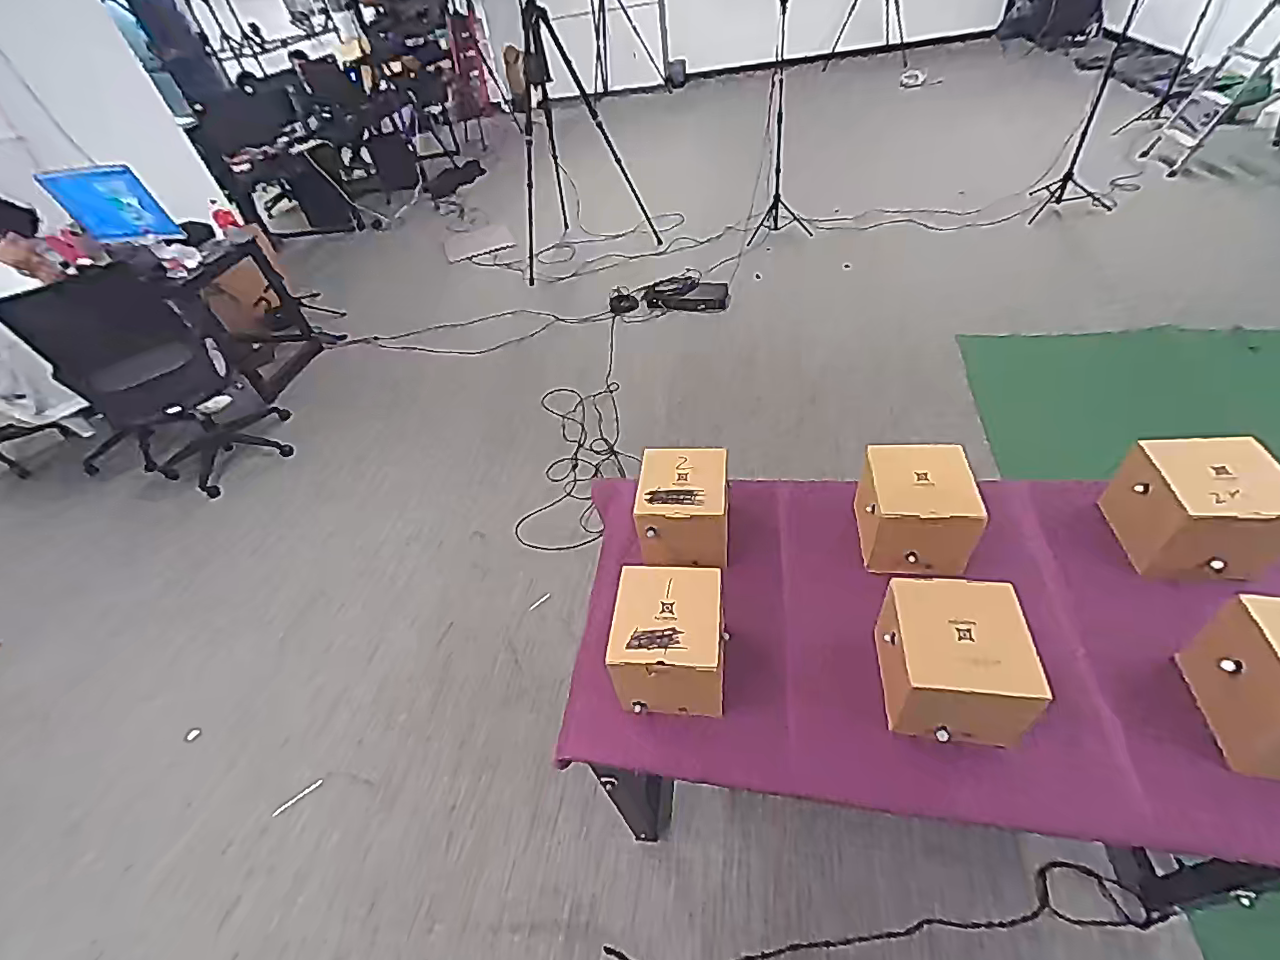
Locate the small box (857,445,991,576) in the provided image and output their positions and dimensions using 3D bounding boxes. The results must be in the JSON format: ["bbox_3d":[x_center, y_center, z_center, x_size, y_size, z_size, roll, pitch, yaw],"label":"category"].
[{"bbox_3d":[0.508,0.055,1.000,0.168,0.176,0.179,1,47,11],"label":"small box"}]

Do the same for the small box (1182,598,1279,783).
[{"bbox_3d":[0.877,0.281,0.703,0.168,0.176,0.179,3,44,15],"label":"small box"}]

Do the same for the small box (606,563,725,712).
[{"bbox_3d":[0.051,0.257,0.878,0.168,0.176,0.179,1,44,10],"label":"small box"}]

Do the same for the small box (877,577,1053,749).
[{"bbox_3d":[0.458,0.267,0.798,0.168,0.176,0.179,2,46,13],"label":"small box"}]

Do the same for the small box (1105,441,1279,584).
[{"bbox_3d":[0.942,0.053,0.914,0.168,0.176,0.179,-1,46,14],"label":"small box"}]
